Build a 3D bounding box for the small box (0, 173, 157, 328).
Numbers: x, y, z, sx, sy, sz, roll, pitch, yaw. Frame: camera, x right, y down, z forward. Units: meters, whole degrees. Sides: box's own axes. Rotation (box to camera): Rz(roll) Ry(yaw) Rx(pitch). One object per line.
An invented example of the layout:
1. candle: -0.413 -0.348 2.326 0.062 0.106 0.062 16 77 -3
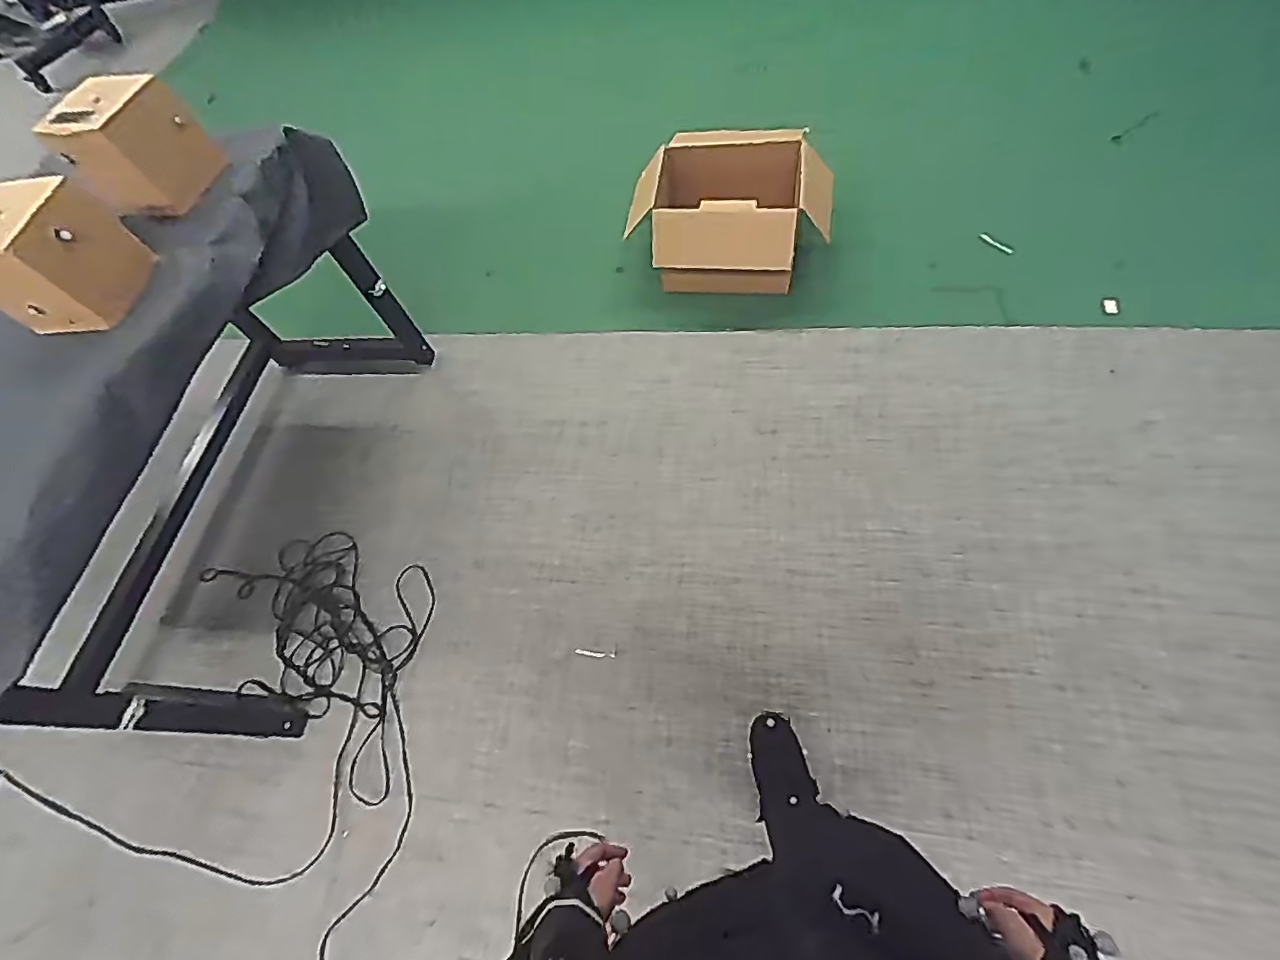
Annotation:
1. small box: -0.986 -0.382 0.915 0.168 0.176 0.179 0 64 9
